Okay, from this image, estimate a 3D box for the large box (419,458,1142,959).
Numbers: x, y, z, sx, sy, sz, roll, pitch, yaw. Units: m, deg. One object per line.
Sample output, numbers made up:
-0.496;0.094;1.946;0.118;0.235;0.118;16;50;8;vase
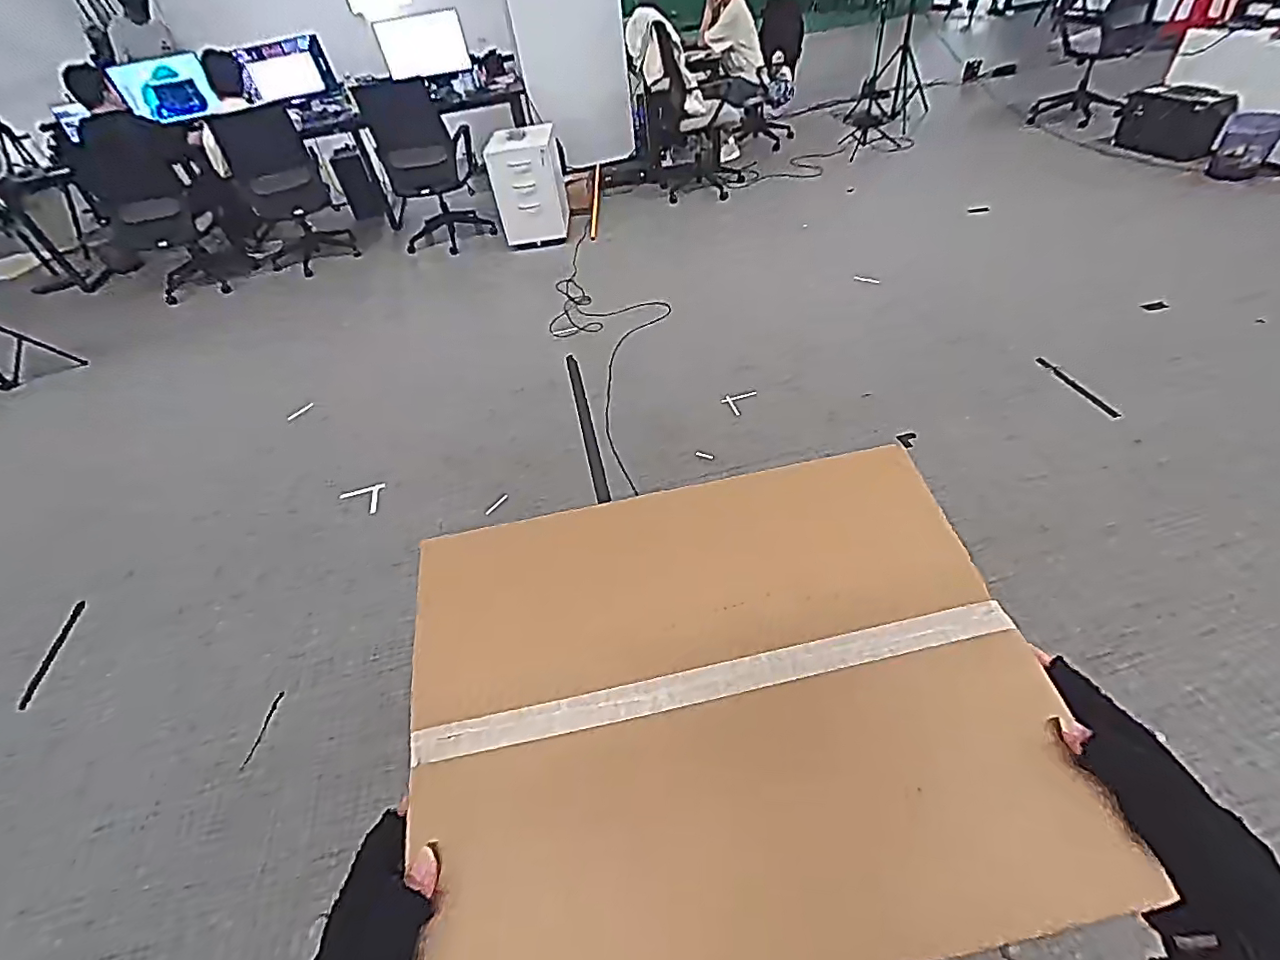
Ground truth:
0.065;0.228;0.486;0.408;0.320;0.320;-12;54;-2;large box
